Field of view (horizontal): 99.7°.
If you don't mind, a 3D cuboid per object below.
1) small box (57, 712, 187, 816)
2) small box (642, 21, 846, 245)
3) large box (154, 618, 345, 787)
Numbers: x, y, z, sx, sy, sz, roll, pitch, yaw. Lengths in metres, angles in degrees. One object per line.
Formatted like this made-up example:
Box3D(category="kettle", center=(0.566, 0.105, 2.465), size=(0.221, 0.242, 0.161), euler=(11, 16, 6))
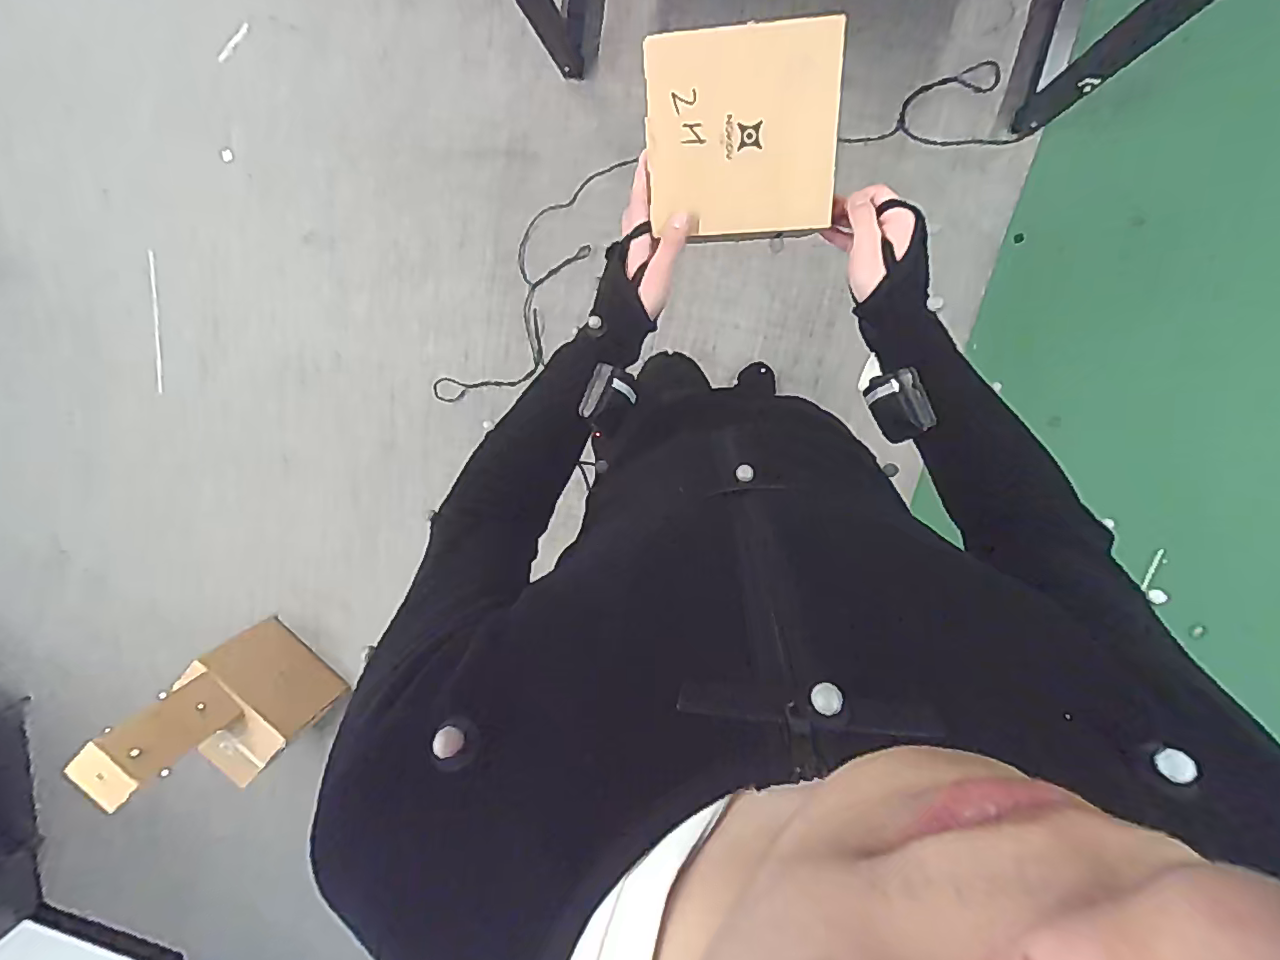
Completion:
Box3D(category="small box", center=(-1.458, 0.790, 1.530), size=(0.168, 0.176, 0.179), euler=(-42, 95, 15))
Box3D(category="small box", center=(0.099, -0.340, 0.565), size=(0.179, 0.176, 0.168), euler=(0, 111, 7))
Box3D(category="large box", center=(-1.383, 0.782, 1.942), size=(0.408, 0.320, 0.320), euler=(43, 108, -3))
